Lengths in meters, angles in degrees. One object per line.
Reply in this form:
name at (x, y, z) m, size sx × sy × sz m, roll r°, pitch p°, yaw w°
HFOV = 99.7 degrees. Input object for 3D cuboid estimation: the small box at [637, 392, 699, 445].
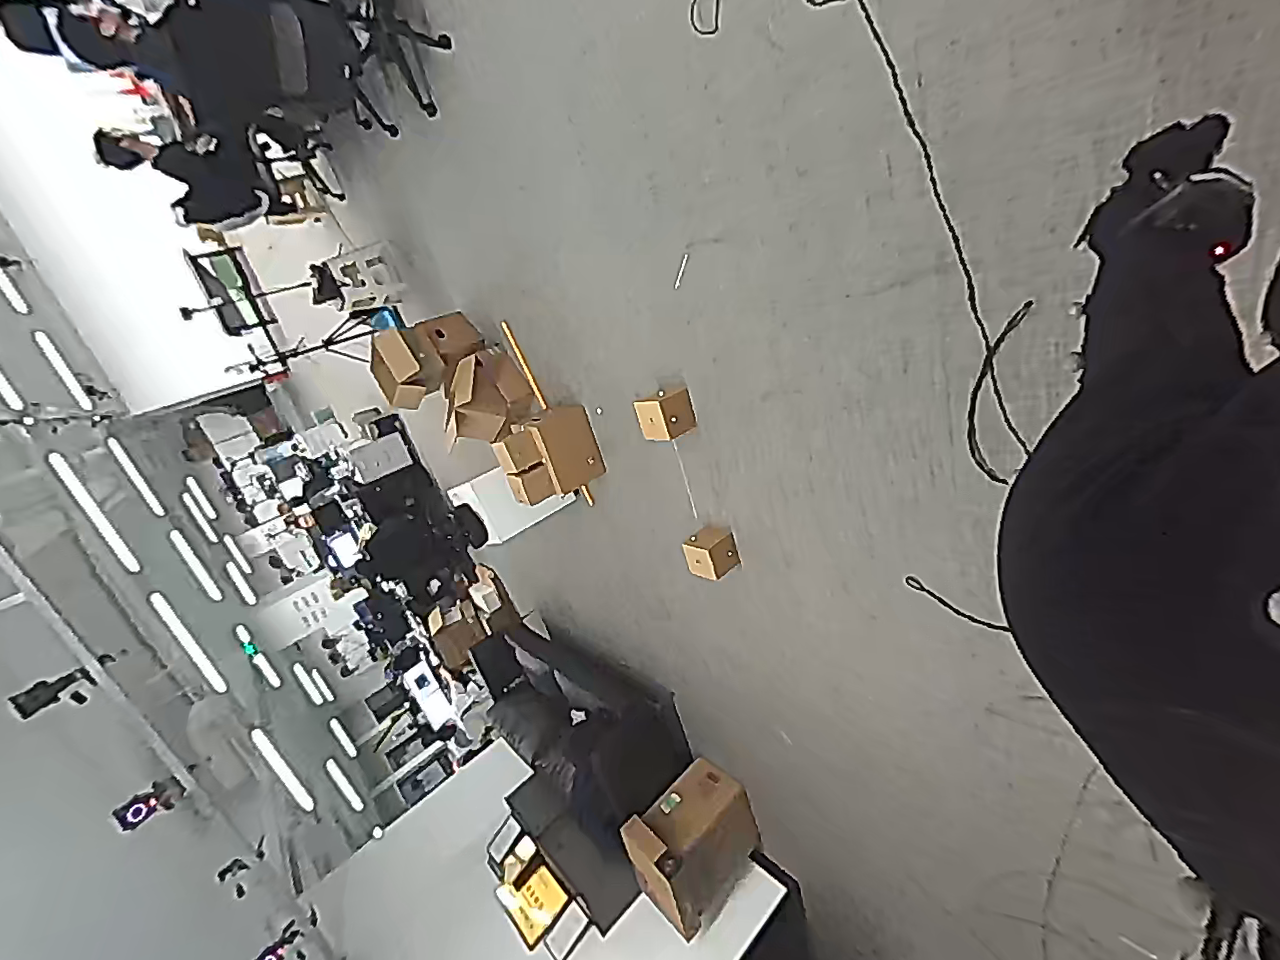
small box at (0.122, -0.263, 2.277) m, size 0.168 × 0.176 × 0.179 m, roll 7°, pitch 122°, yaw 51°

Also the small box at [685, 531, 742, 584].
small box at (0.341, 0.350, 2.490) m, size 0.179 × 0.176 × 0.168 m, roll 7°, pitch 122°, yaw 52°
